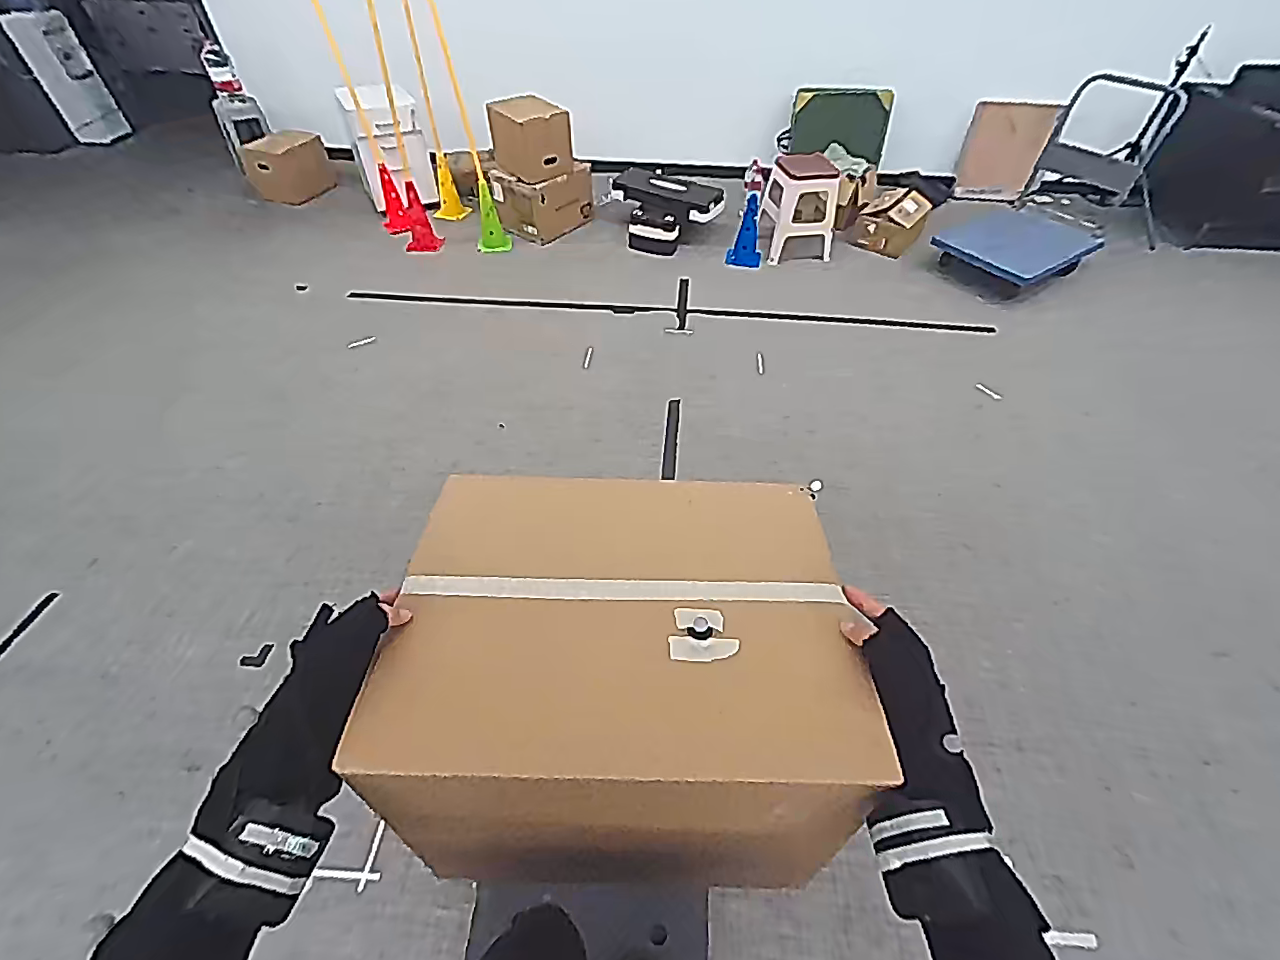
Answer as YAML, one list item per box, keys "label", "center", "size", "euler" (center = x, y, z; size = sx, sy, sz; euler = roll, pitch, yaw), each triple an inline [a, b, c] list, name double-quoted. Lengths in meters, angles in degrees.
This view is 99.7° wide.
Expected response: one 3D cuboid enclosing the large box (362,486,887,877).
- label: "large box"
  center: [-0.015, 0.223, 0.610]
  size: [0.408, 0.320, 0.320]
  euler: [2, 42, 0]
